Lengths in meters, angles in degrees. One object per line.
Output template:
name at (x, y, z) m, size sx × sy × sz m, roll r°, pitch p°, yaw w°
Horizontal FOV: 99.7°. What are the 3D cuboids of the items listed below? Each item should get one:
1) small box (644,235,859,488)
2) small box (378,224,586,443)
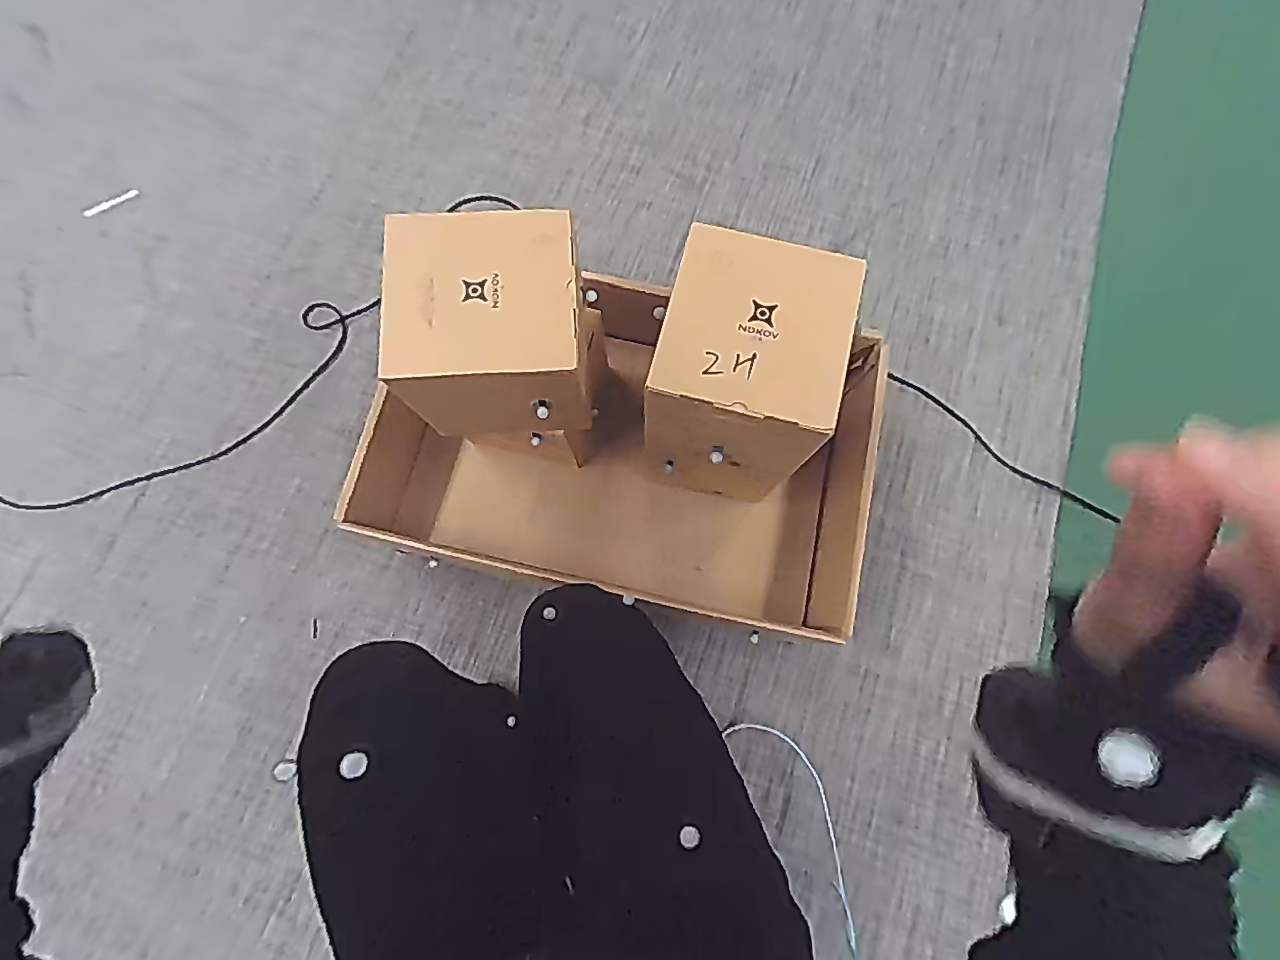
small box at (0.102, -0.109, 0.558) m, size 0.168 × 0.176 × 0.179 m, roll 15°, pitch 77°, yaw 4°
small box at (-0.148, -0.142, 0.569) m, size 0.179 × 0.176 × 0.168 m, roll -3°, pitch 77°, yaw -1°
